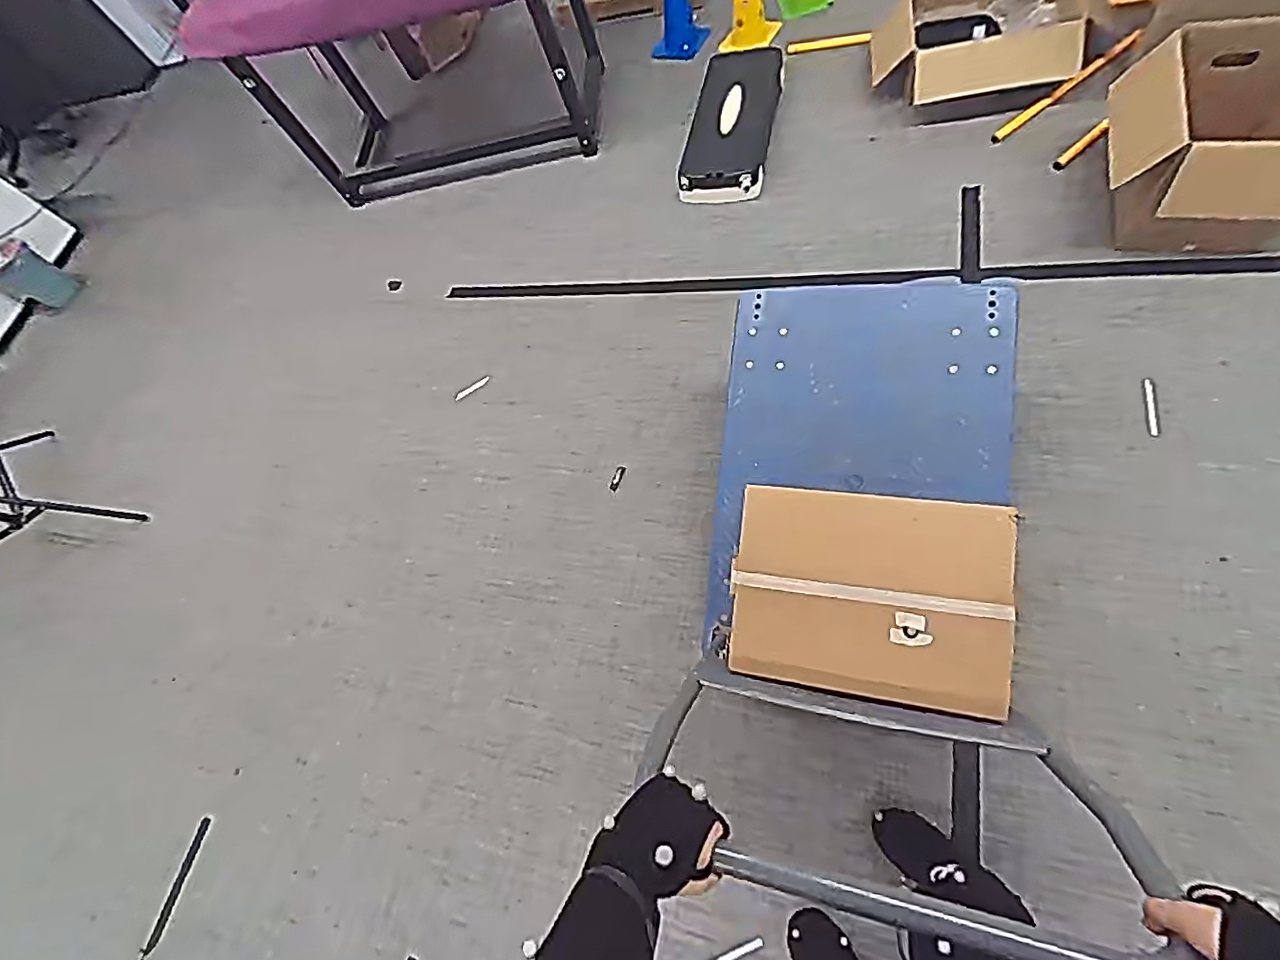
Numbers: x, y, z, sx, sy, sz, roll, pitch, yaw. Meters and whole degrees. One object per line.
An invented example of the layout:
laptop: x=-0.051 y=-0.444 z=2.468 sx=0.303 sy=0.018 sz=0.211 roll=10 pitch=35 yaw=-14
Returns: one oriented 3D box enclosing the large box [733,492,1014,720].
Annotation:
large box: x=0.397 y=0.206 z=0.996 sx=0.408 sy=0.320 sz=0.320 roll=5 pitch=85 yaw=16
